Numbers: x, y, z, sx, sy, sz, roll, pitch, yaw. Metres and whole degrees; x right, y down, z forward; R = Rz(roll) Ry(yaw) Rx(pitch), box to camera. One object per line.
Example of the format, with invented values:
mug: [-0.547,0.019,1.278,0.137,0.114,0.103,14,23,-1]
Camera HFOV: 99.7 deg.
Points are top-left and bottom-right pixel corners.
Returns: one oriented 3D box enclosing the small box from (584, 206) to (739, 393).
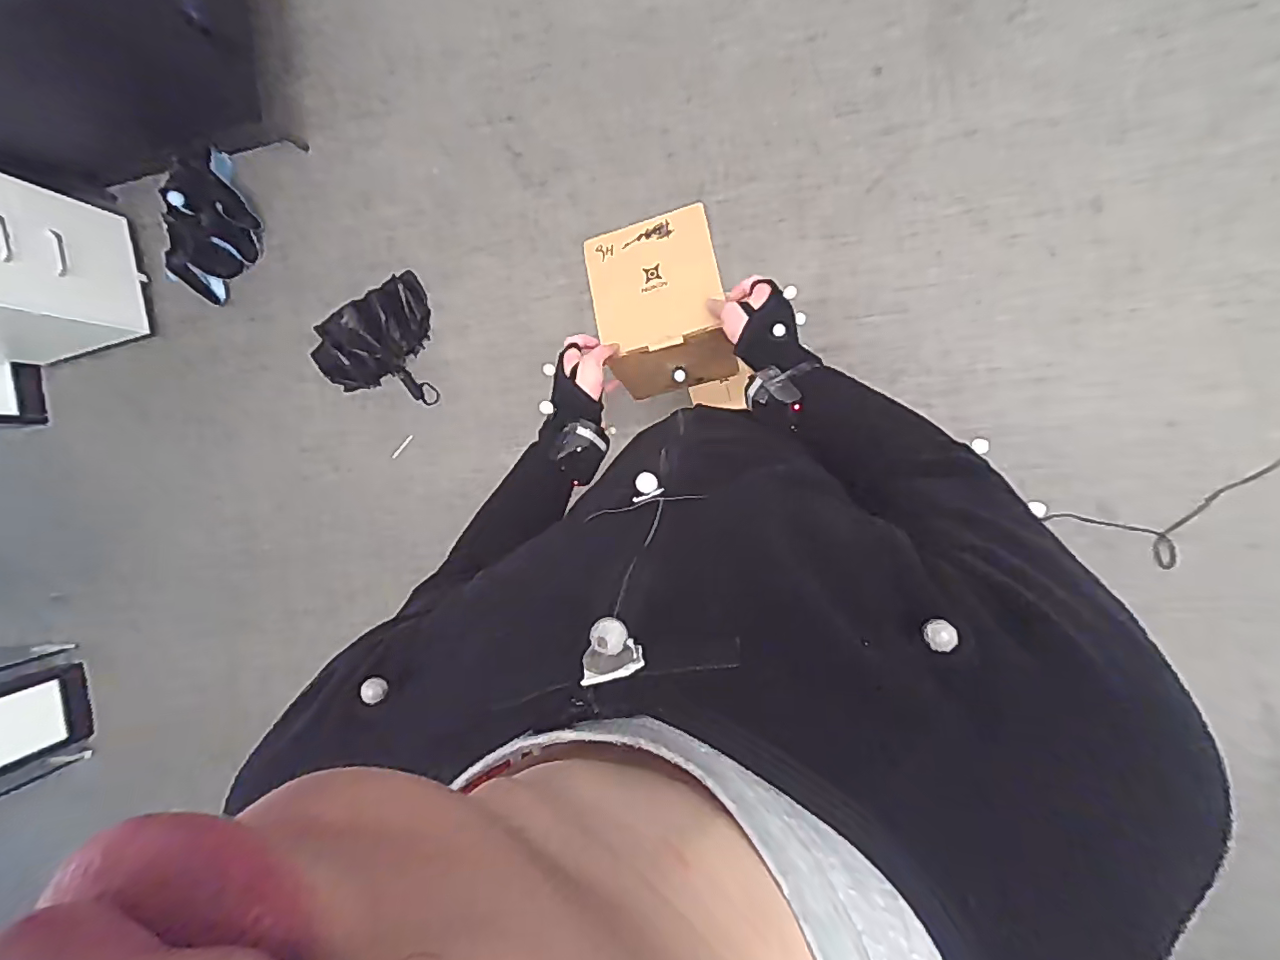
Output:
small box: [0.037,-0.234,0.757,0.168,0.176,0.179,-12,77,13]

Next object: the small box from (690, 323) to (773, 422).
small box: [0.203,-0.241,1.263,0.168,0.176,0.179,-18,92,13]
